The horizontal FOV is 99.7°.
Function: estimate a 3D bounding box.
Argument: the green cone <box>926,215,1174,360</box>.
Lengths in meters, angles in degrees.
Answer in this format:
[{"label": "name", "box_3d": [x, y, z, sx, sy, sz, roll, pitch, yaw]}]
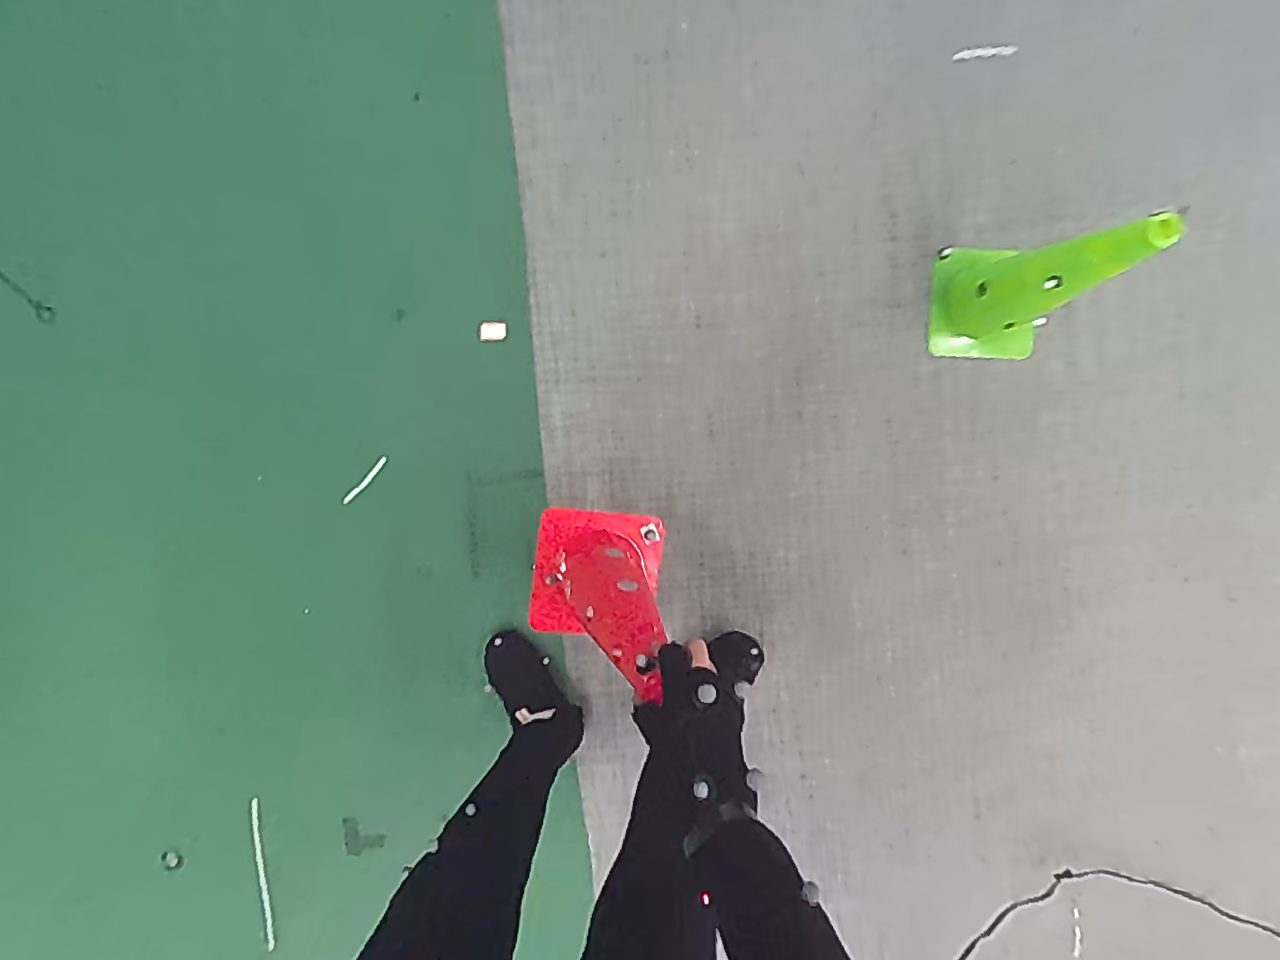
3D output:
[{"label": "green cone", "box_3d": [0.650, -0.321, 0.863, 0.202, 0.368, 0.200, 1, 93, -1]}]
